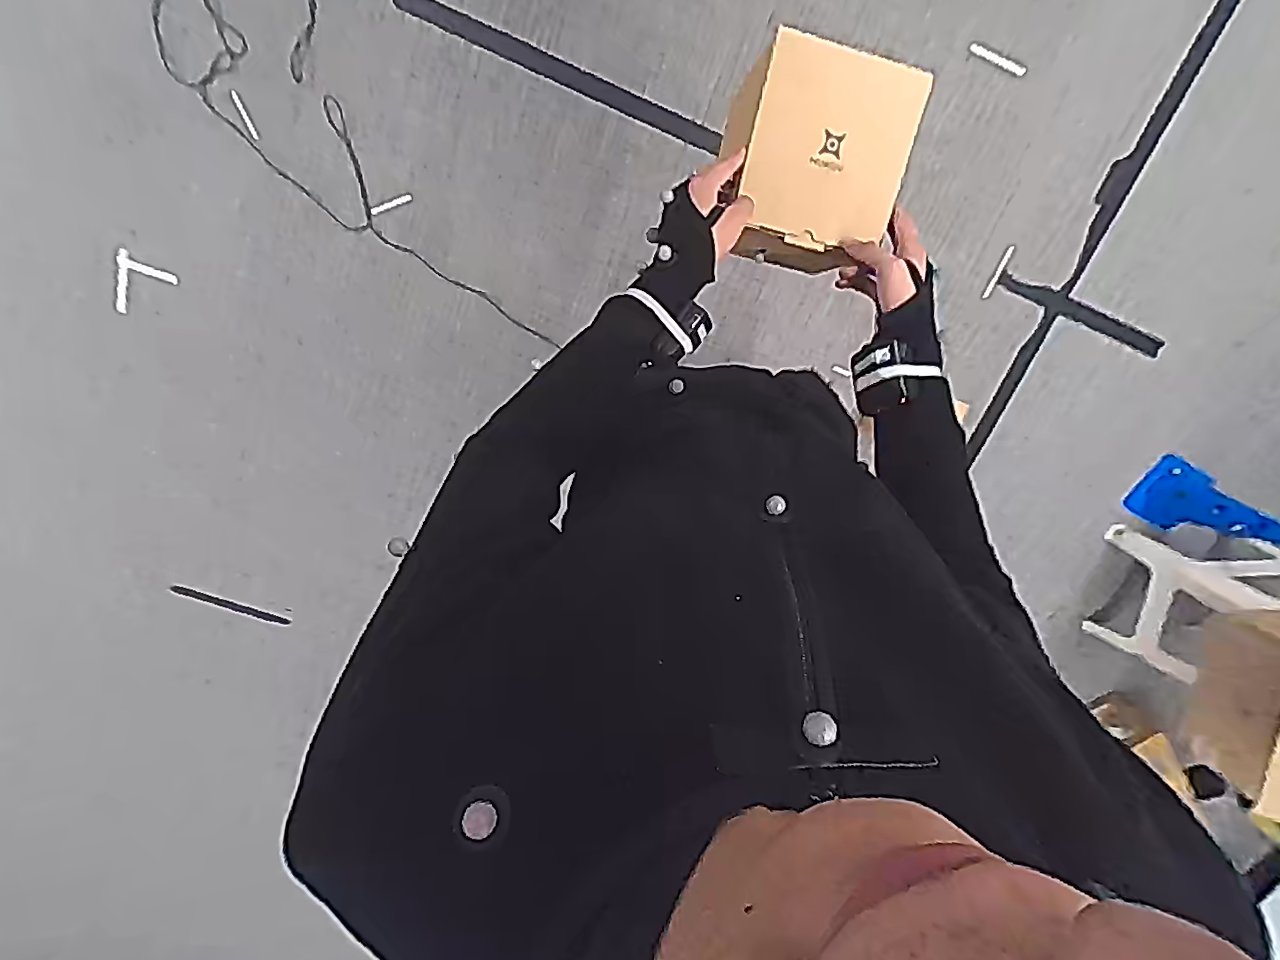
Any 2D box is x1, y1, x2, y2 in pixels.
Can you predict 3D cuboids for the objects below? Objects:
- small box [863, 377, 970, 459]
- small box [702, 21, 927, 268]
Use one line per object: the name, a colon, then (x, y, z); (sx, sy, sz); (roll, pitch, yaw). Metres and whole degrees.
small box: (0.754, -0.178, 1.498); (0.179, 0.176, 0.168); (18, 107, -6)
small box: (0.178, -0.356, 0.613); (0.168, 0.176, 0.179); (10, 105, -8)
